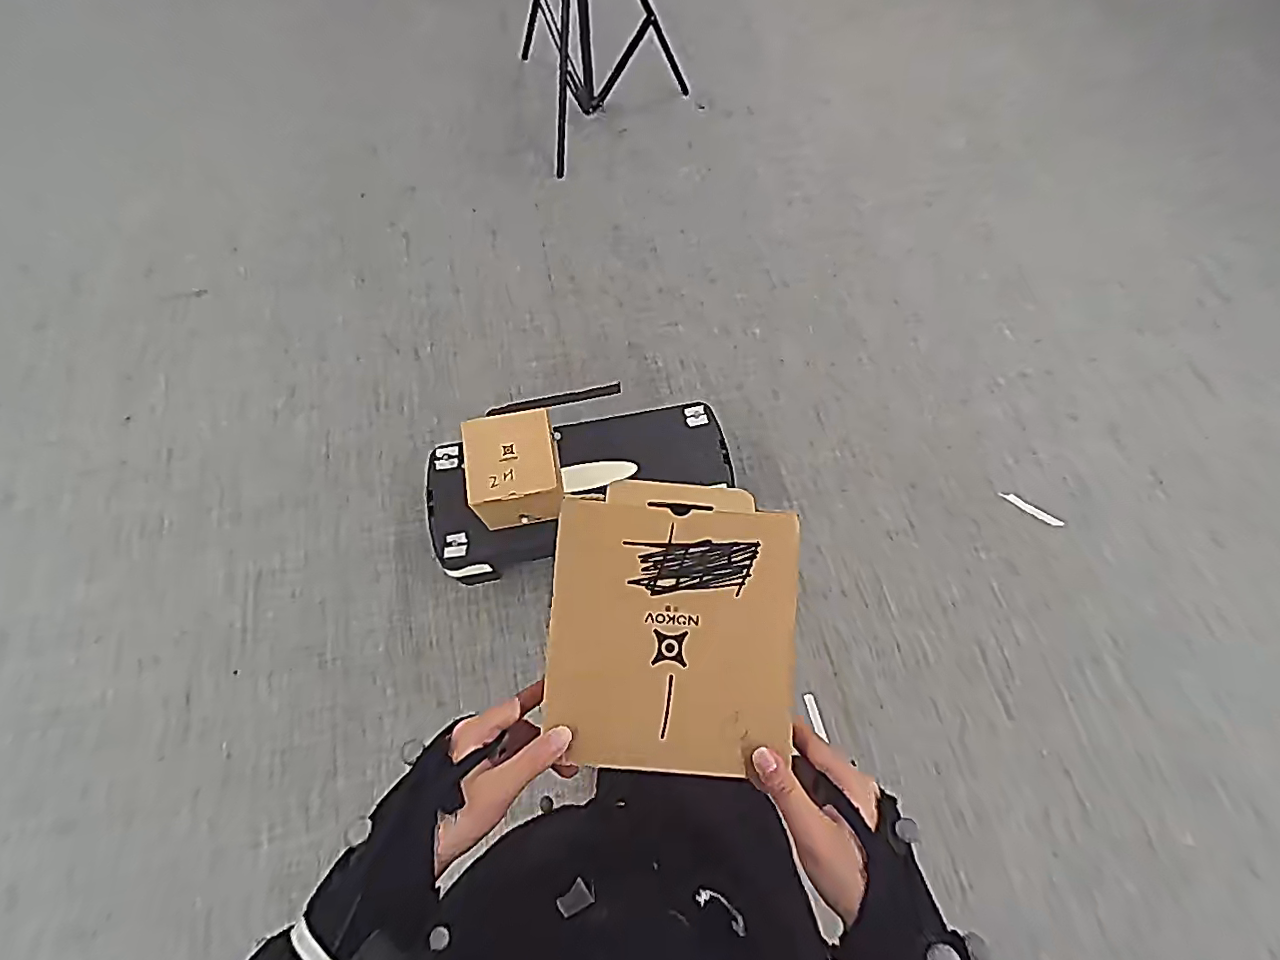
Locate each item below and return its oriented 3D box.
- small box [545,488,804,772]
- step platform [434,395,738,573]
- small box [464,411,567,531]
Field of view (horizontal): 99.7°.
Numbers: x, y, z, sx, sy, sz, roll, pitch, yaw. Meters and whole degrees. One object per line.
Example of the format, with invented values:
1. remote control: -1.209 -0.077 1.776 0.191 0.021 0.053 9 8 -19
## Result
1. small box: 0.025 0.108 0.439 0.168 0.176 0.179 4 83 1
2. step platform: -0.119 0.007 1.268 0.684 0.204 0.286 -11 69 -4
3. small box: -0.245 -0.014 1.087 0.168 0.176 0.179 -10 69 -4
